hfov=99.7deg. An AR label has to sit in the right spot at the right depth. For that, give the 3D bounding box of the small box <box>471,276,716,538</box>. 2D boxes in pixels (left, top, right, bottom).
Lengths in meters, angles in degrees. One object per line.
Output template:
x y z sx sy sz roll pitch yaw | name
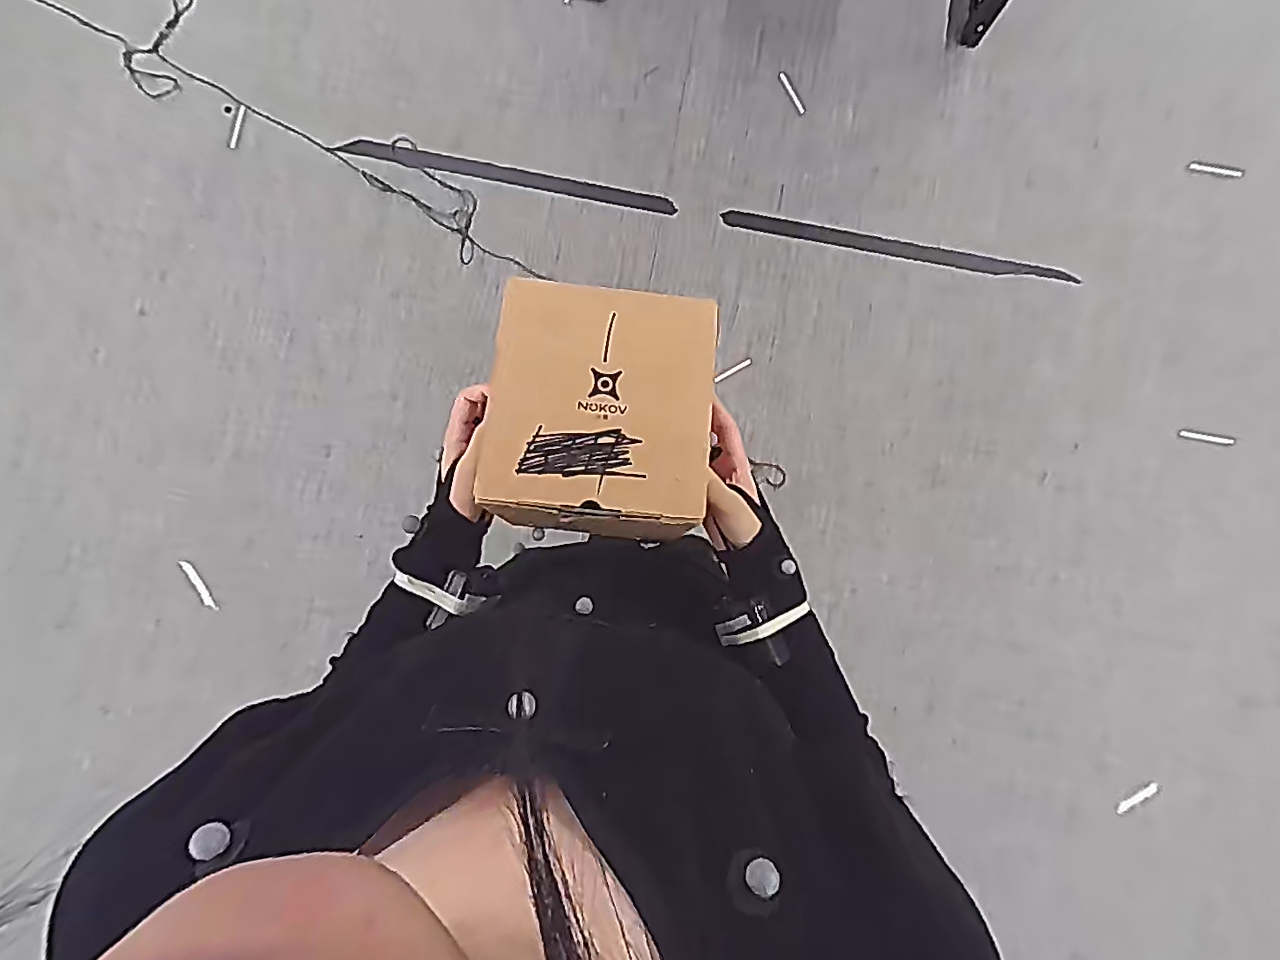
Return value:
-0.036 -0.047 0.475 0.168 0.176 0.179 6 78 -4 | small box
